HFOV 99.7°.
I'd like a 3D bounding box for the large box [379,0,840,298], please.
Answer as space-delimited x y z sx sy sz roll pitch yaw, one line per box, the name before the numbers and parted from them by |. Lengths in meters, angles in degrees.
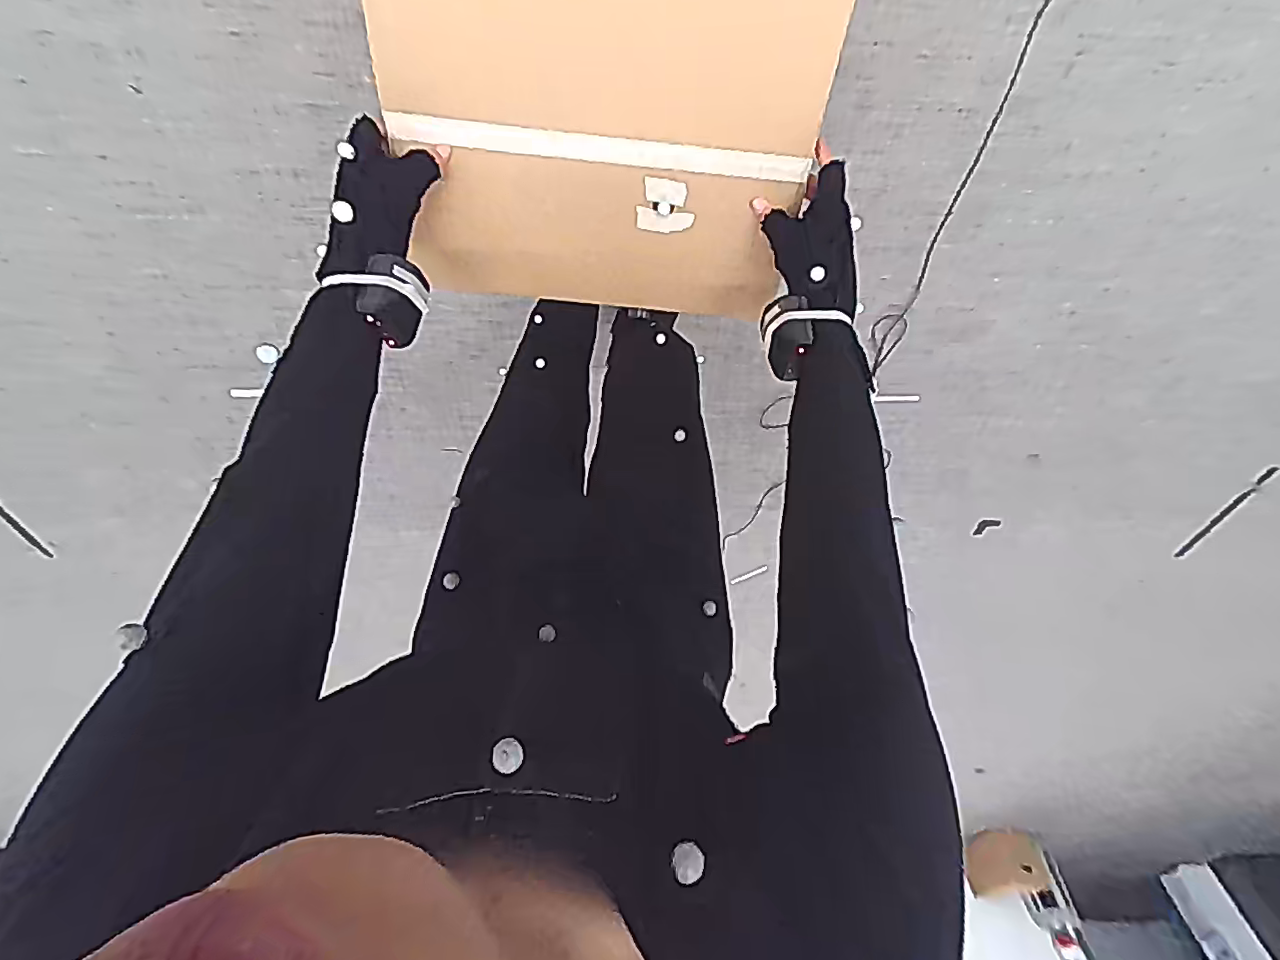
large box | -0.036 -0.437 0.643 0.408 0.320 0.320 4 132 -4
